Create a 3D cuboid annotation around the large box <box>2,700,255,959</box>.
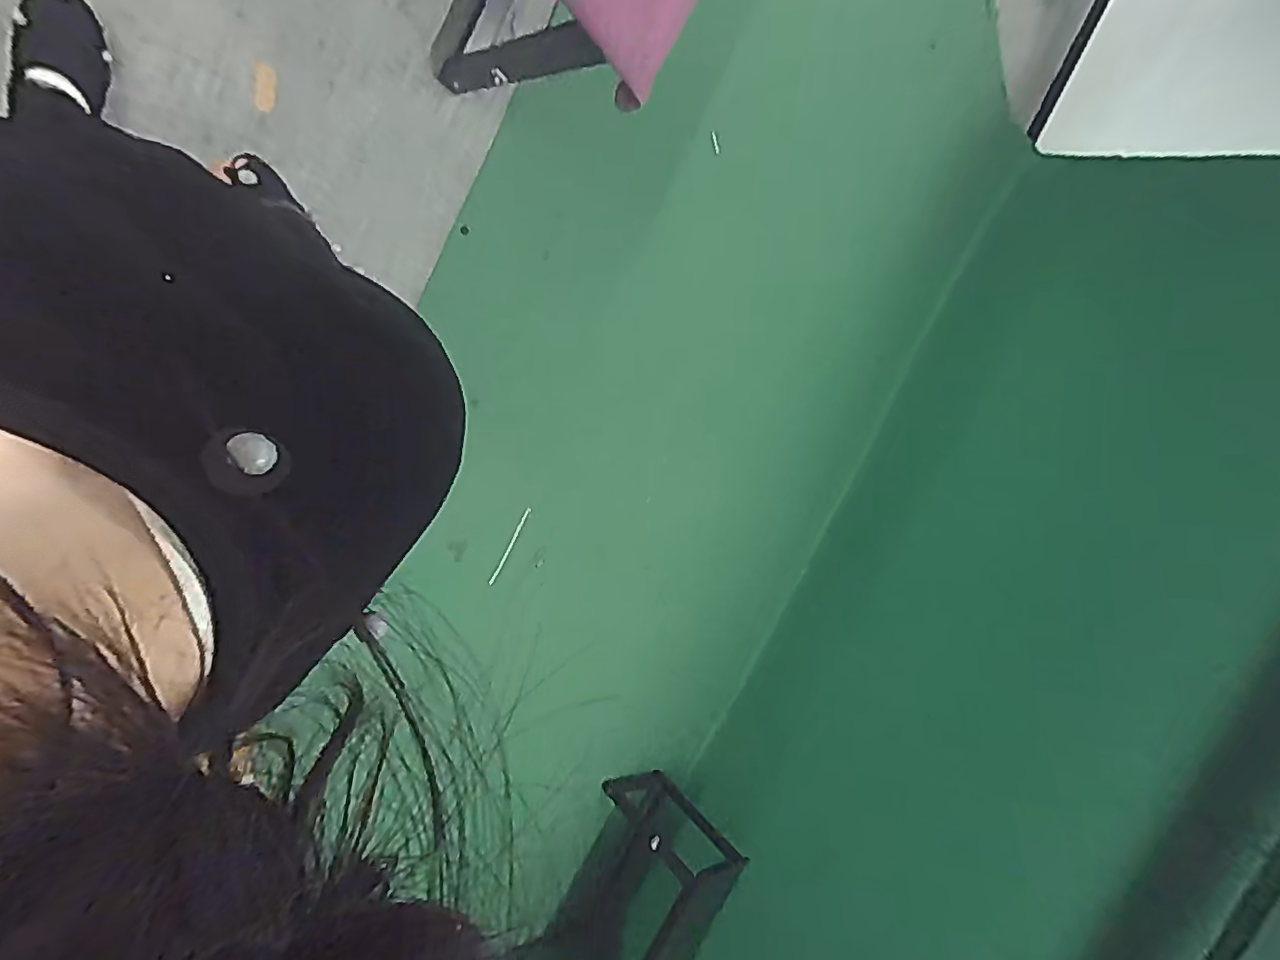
[{"bbox_3d":[-1.217,0.800,1.303,0.408,0.320,0.320,2,112,-47],"label":"large box"}]
